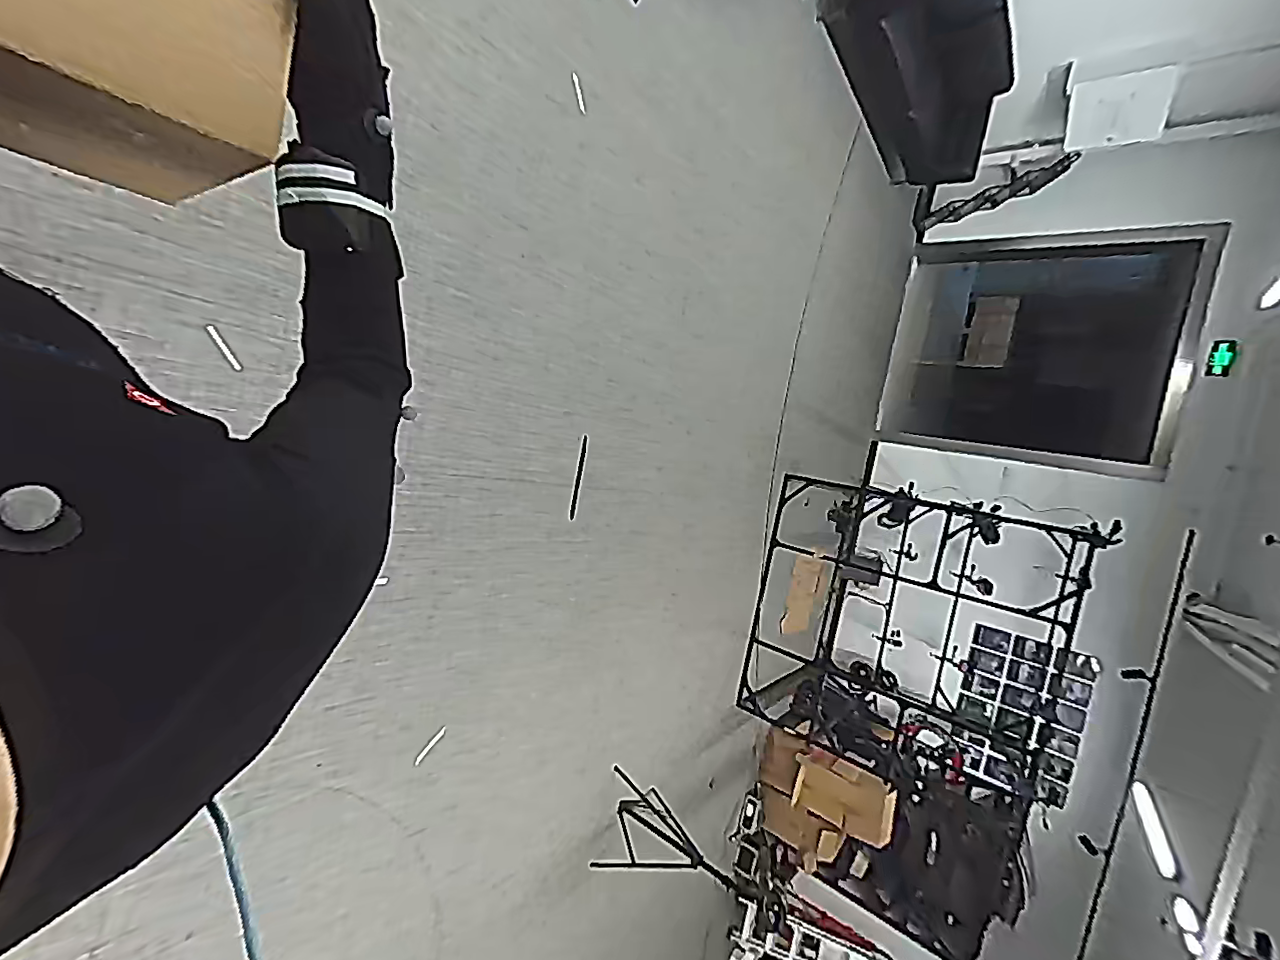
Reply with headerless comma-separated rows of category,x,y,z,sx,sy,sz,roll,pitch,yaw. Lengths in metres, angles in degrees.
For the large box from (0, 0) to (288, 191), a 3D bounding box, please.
large box,-0.483,-0.426,0.319,0.408,0.320,0.320,3,101,-53
